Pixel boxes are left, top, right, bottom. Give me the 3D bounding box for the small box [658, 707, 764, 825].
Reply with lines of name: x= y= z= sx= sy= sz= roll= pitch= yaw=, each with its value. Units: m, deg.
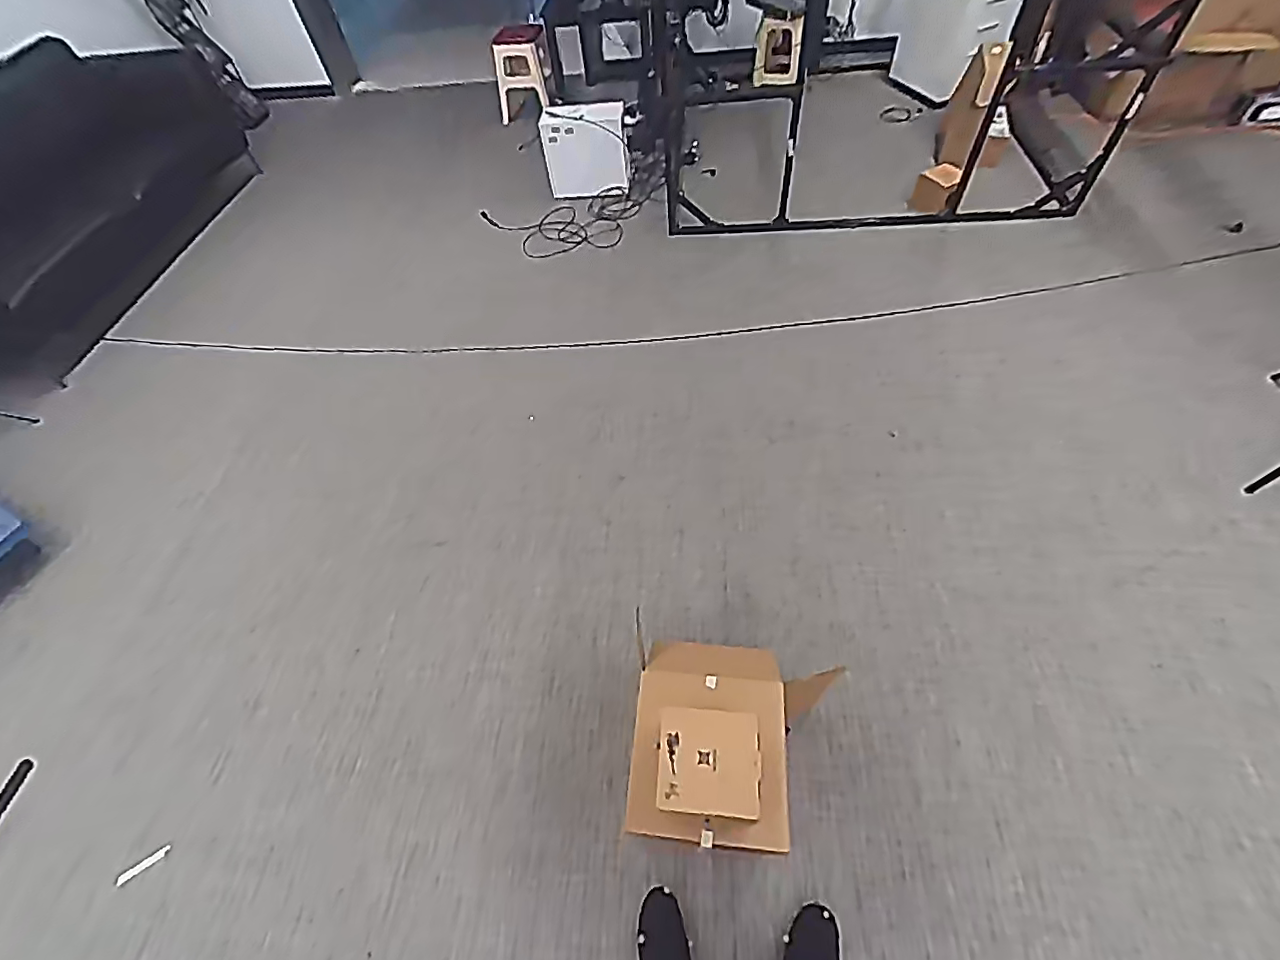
small box: x=0.130 y=0.530 z=0.998 sx=0.179 sy=0.176 sz=0.168 roll=3 pitch=56 yaw=7
